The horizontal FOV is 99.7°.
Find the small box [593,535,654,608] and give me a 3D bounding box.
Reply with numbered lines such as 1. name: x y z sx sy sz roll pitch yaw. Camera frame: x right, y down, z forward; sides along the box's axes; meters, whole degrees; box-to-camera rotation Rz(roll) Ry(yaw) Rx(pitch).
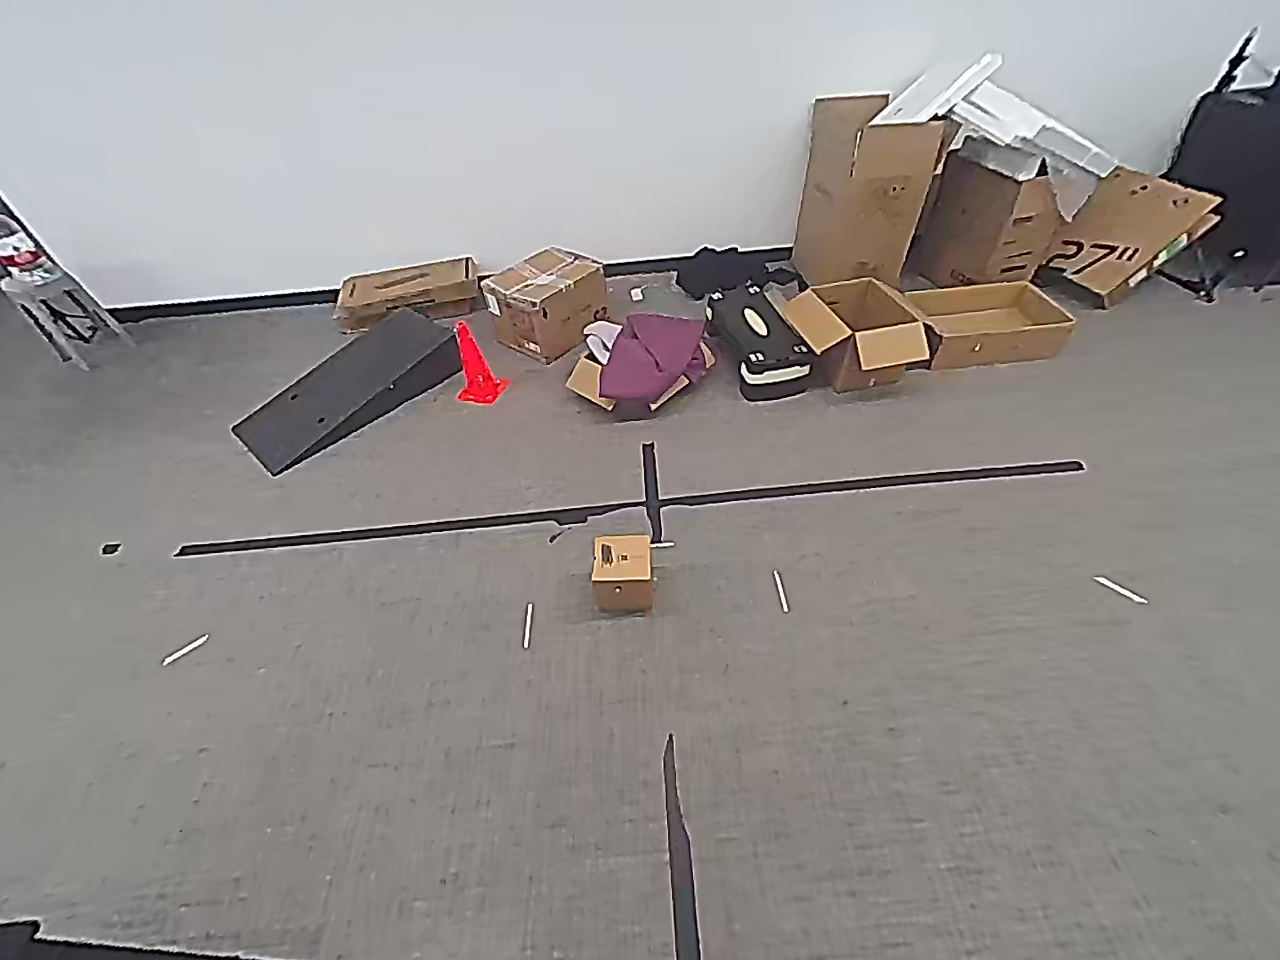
1. small box: -0.047 0.290 1.695 0.179 0.176 0.168 -2 46 2
